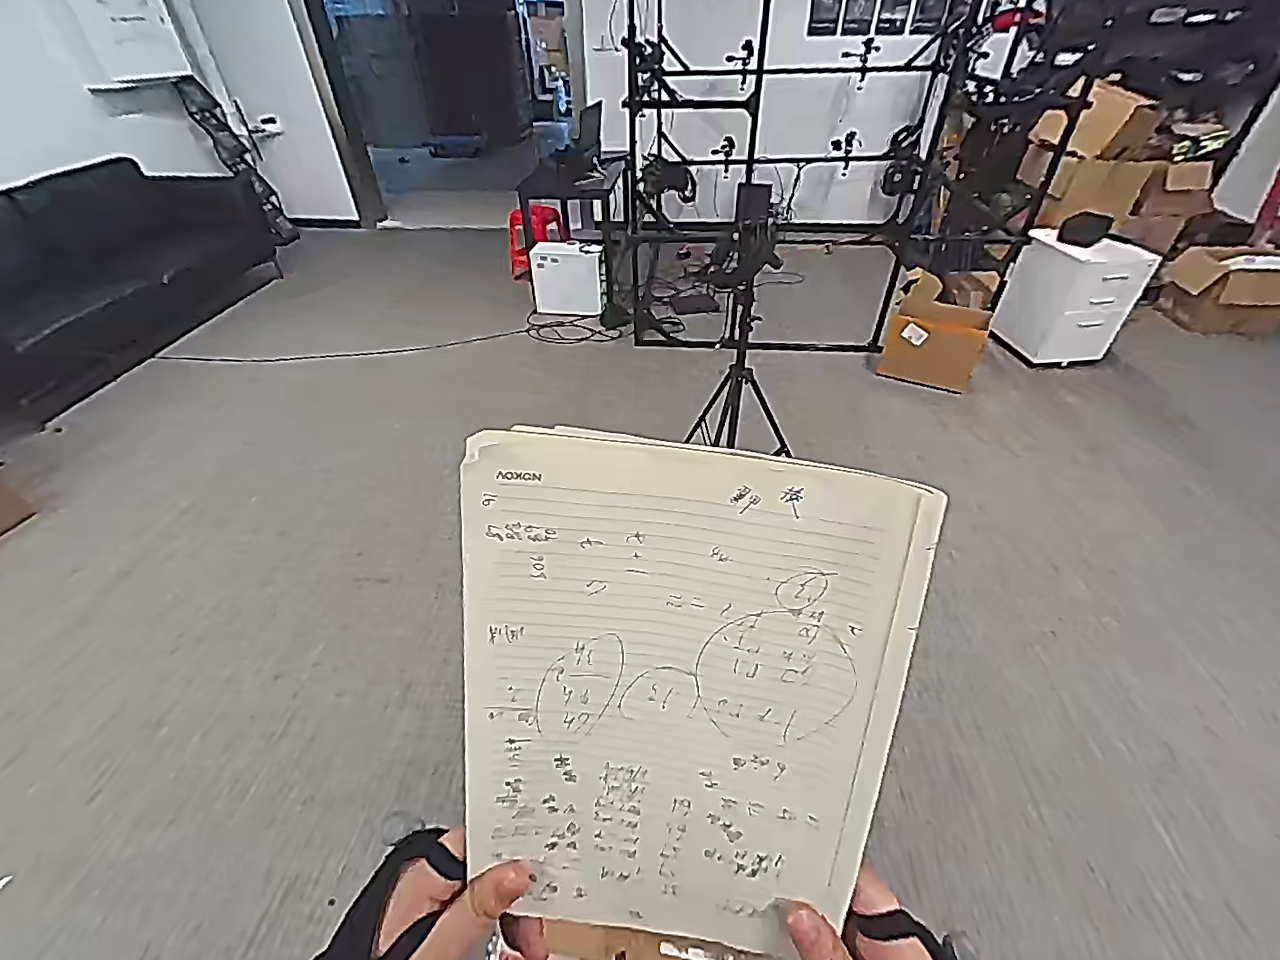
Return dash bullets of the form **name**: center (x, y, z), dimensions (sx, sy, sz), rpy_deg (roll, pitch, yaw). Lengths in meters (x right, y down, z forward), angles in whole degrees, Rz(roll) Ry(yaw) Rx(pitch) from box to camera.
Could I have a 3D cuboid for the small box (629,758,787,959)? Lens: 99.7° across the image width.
- **small box**: center (0.082, 0.484, 0.674), dimensions (0.168, 0.176, 0.179), rpy_deg (9, 43, 8)
